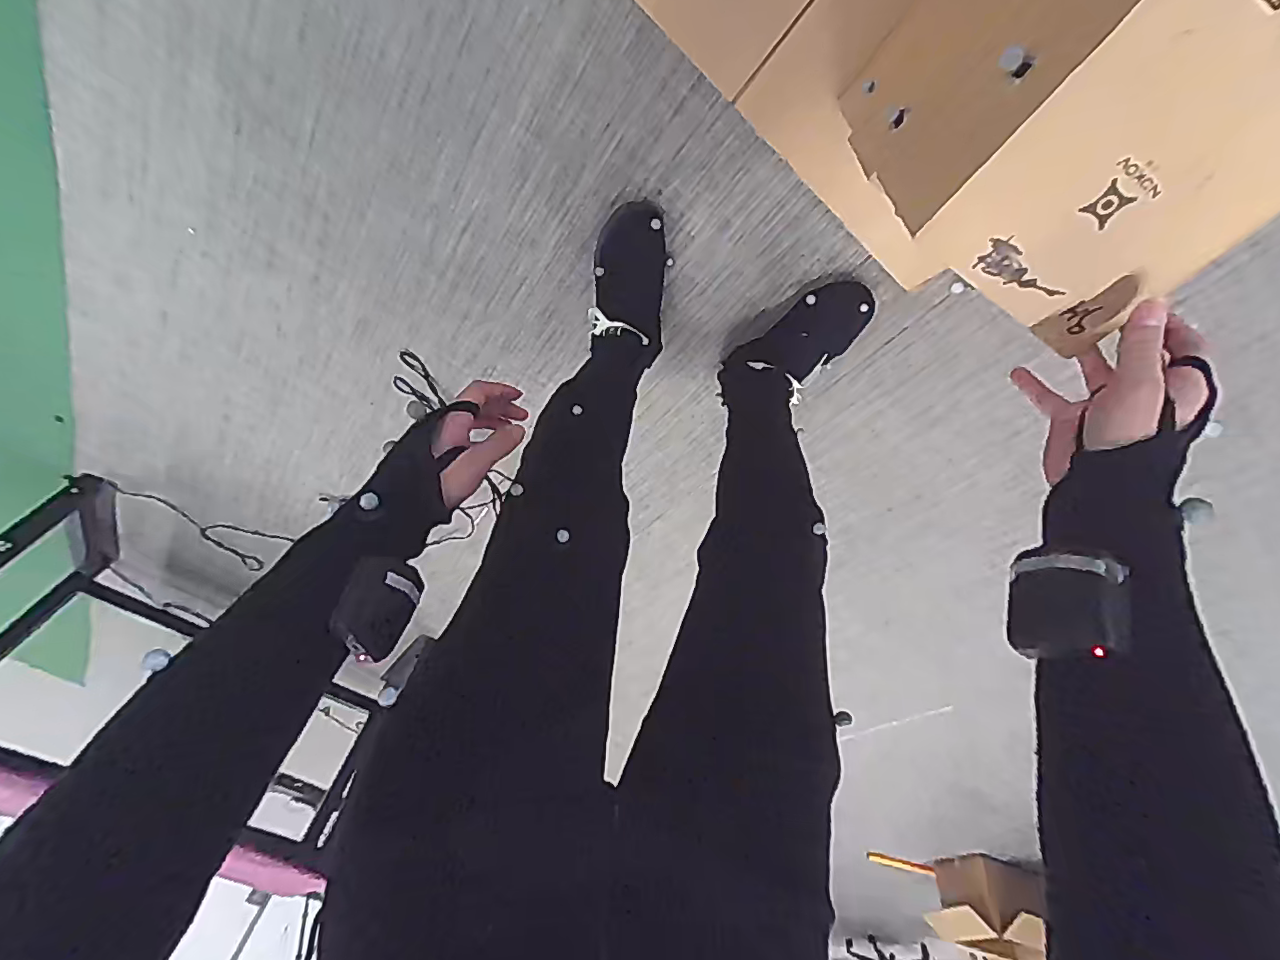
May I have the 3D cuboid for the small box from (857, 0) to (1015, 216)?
[{"bbox_3d":[0.328,-0.339,0.513,0.168,0.176,0.179,29,132,-15],"label":"small box"}]

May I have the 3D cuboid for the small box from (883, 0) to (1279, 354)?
[{"bbox_3d":[0.306,-0.234,0.389,0.168,0.176,0.179,29,131,-13],"label":"small box"}]
